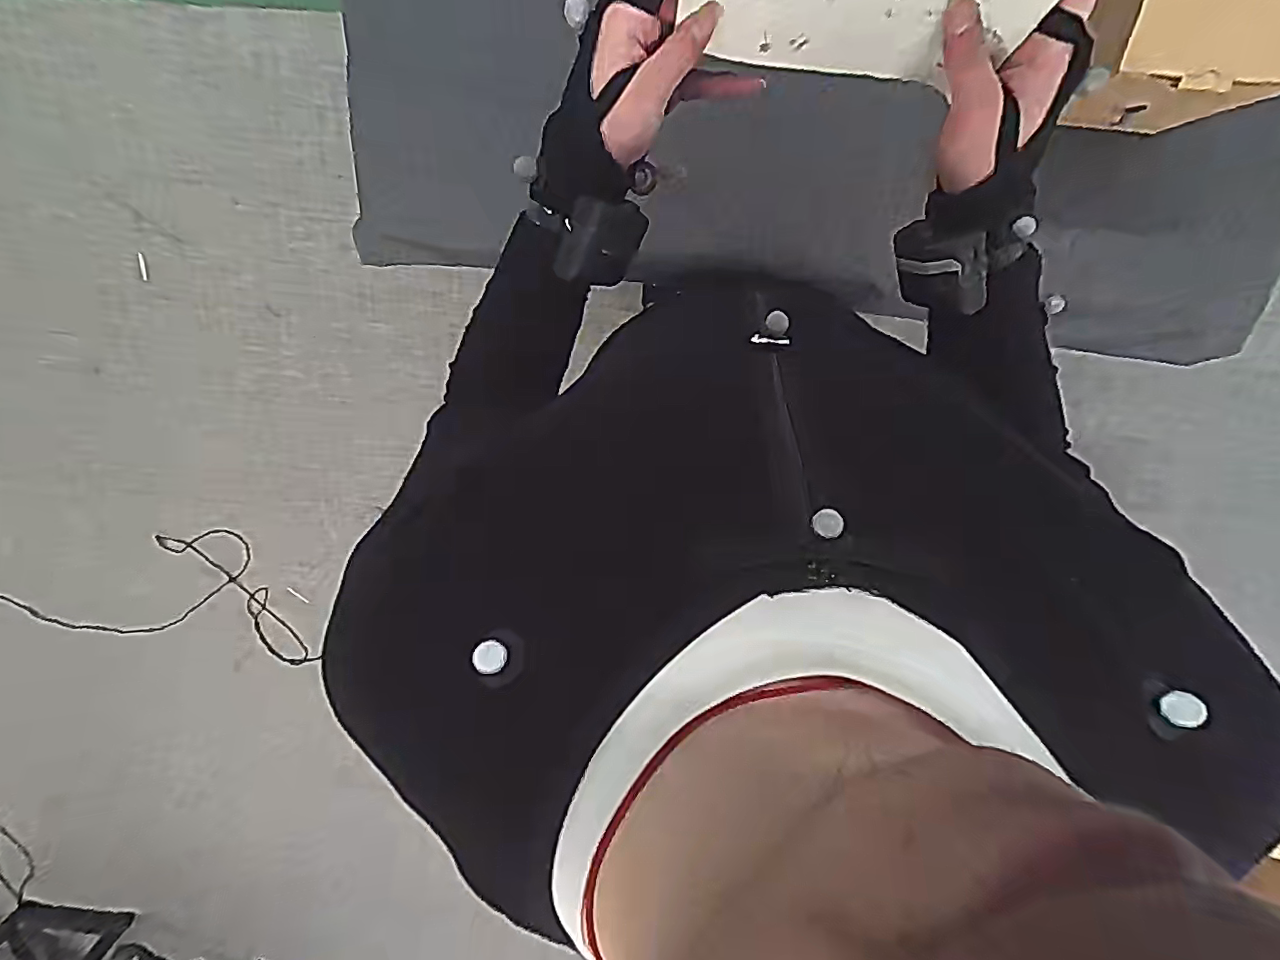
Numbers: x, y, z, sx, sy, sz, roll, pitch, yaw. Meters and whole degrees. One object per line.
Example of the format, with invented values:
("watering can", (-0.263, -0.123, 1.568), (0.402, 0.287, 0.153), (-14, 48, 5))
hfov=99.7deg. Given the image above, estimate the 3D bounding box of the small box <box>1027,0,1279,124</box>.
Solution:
("small box", (0.537, -0.479, 0.544), (0.168, 0.176, 0.179), (6, 113, 2))
